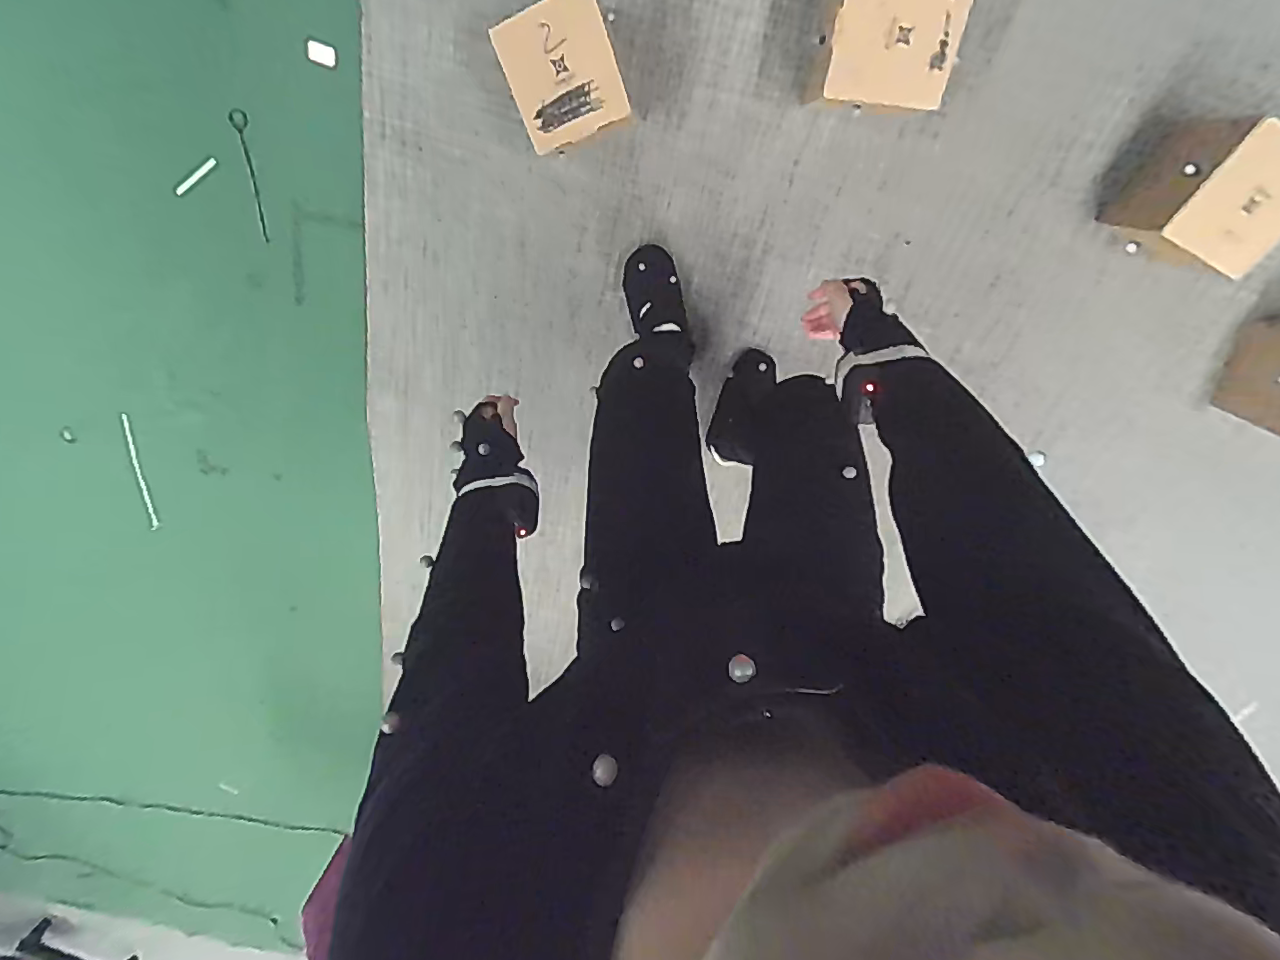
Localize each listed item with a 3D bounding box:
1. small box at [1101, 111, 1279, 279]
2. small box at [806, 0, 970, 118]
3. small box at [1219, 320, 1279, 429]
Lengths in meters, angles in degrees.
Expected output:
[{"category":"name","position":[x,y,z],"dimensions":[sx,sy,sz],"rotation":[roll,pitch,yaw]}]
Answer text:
[{"category":"small box","position":[0.927,-0.460,0.882],"dimensions":[0.168,0.176,0.179],"rotation":[25,119,-8]},{"category":"small box","position":[0.366,-0.663,0.824],"dimensions":[0.179,0.176,0.168],"rotation":[8,120,2]},{"category":"small box","position":[1.250,-0.196,0.998],"dimensions":[0.168,0.176,0.179],"rotation":[-2,120,8]}]
